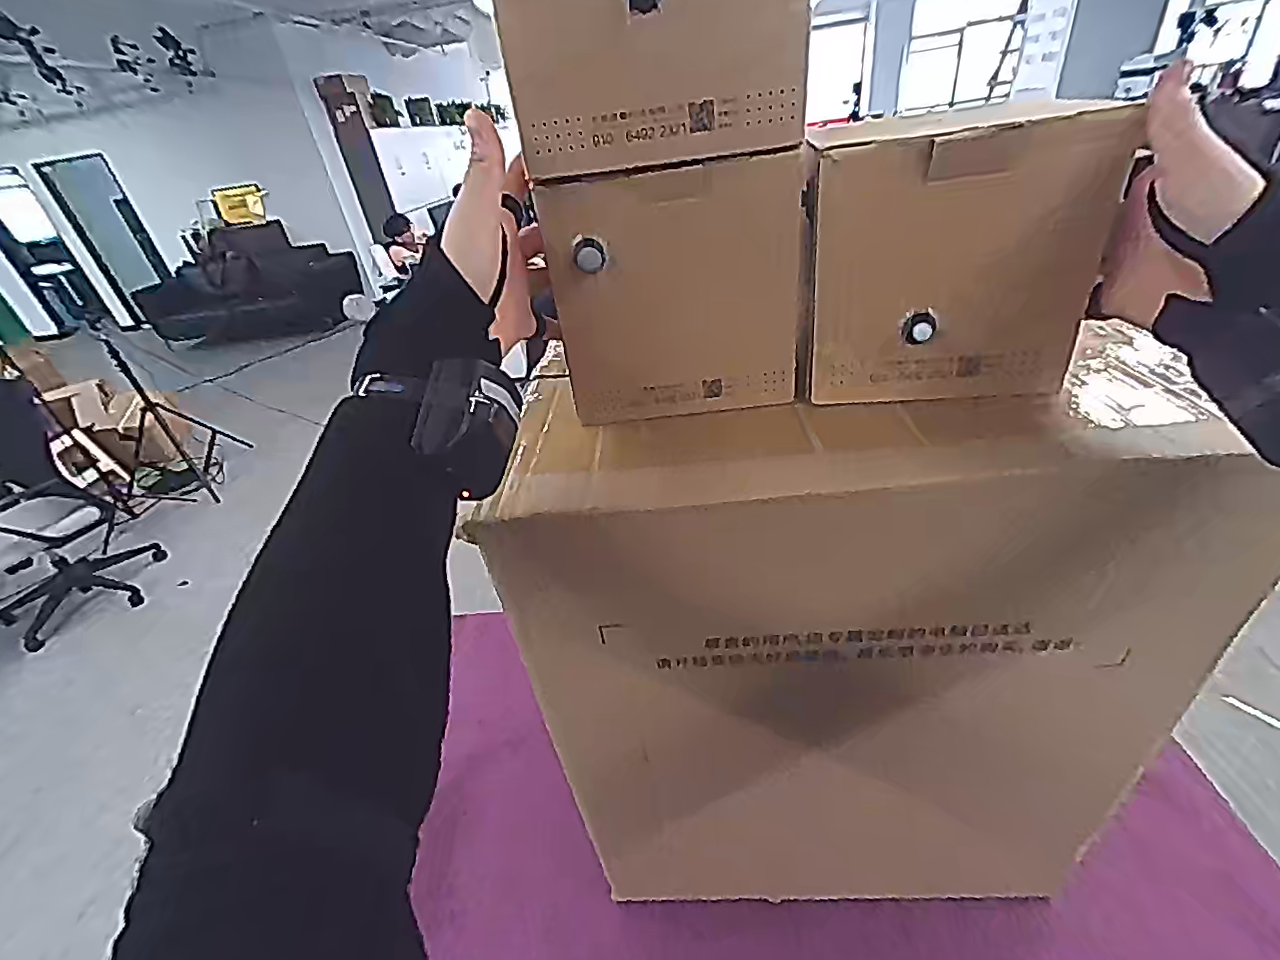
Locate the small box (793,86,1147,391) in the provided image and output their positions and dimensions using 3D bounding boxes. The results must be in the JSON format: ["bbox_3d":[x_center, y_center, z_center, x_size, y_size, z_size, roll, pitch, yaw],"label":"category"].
[{"bbox_3d":[0.208,-0.179,0.409,0.168,0.176,0.179,-2,34,11],"label":"small box"}]

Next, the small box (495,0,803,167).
[{"bbox_3d":[0.001,-0.303,0.340,0.168,0.176,0.179,-7,33,0],"label":"small box"}]
